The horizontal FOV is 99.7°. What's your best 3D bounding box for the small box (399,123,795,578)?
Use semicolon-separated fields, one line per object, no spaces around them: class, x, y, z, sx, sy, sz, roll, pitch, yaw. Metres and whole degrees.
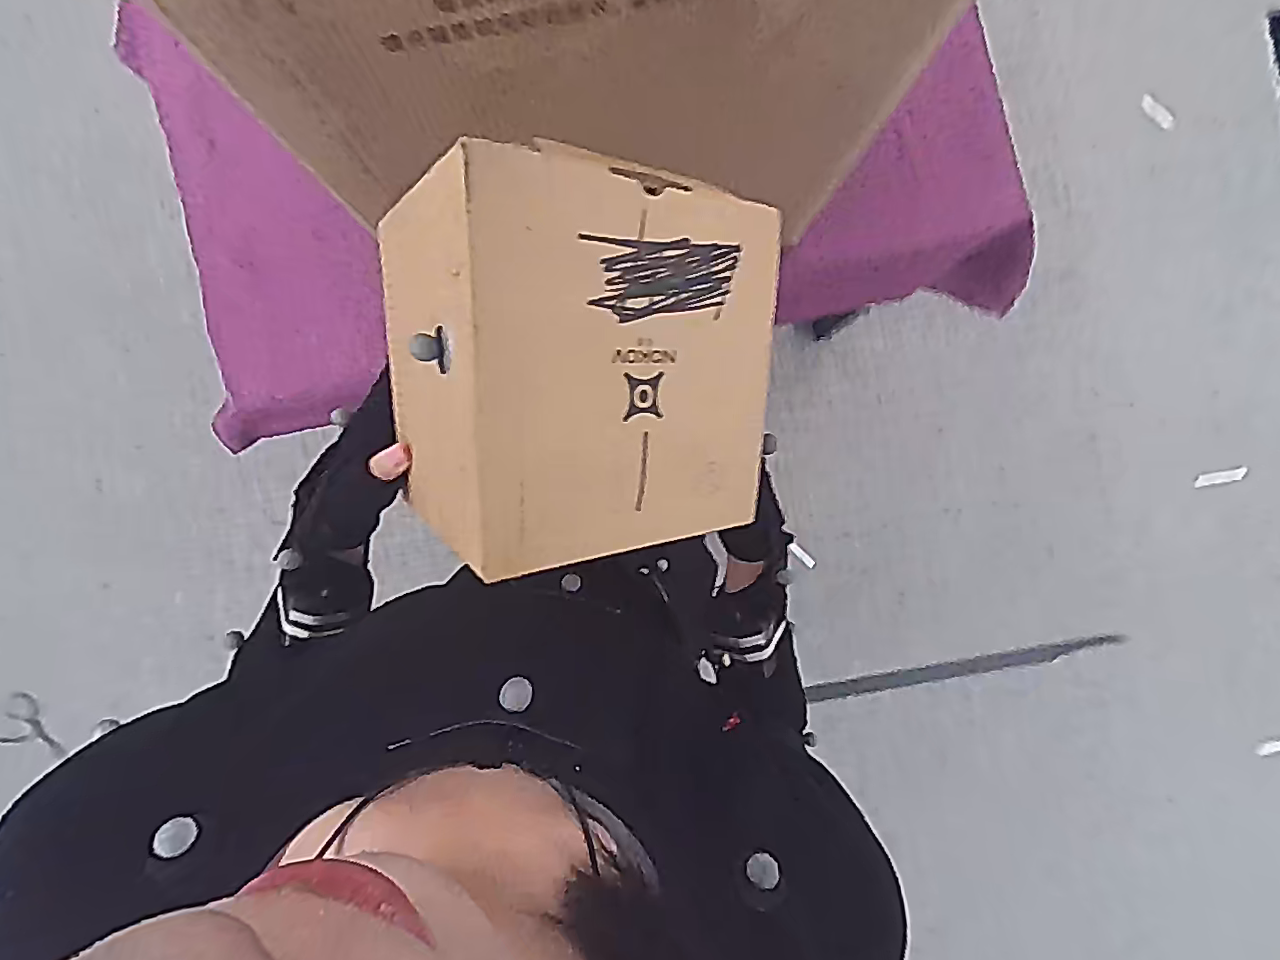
small box;-0.035;-0.065;0.316;0.168;0.176;0.179;-7;105;-33
